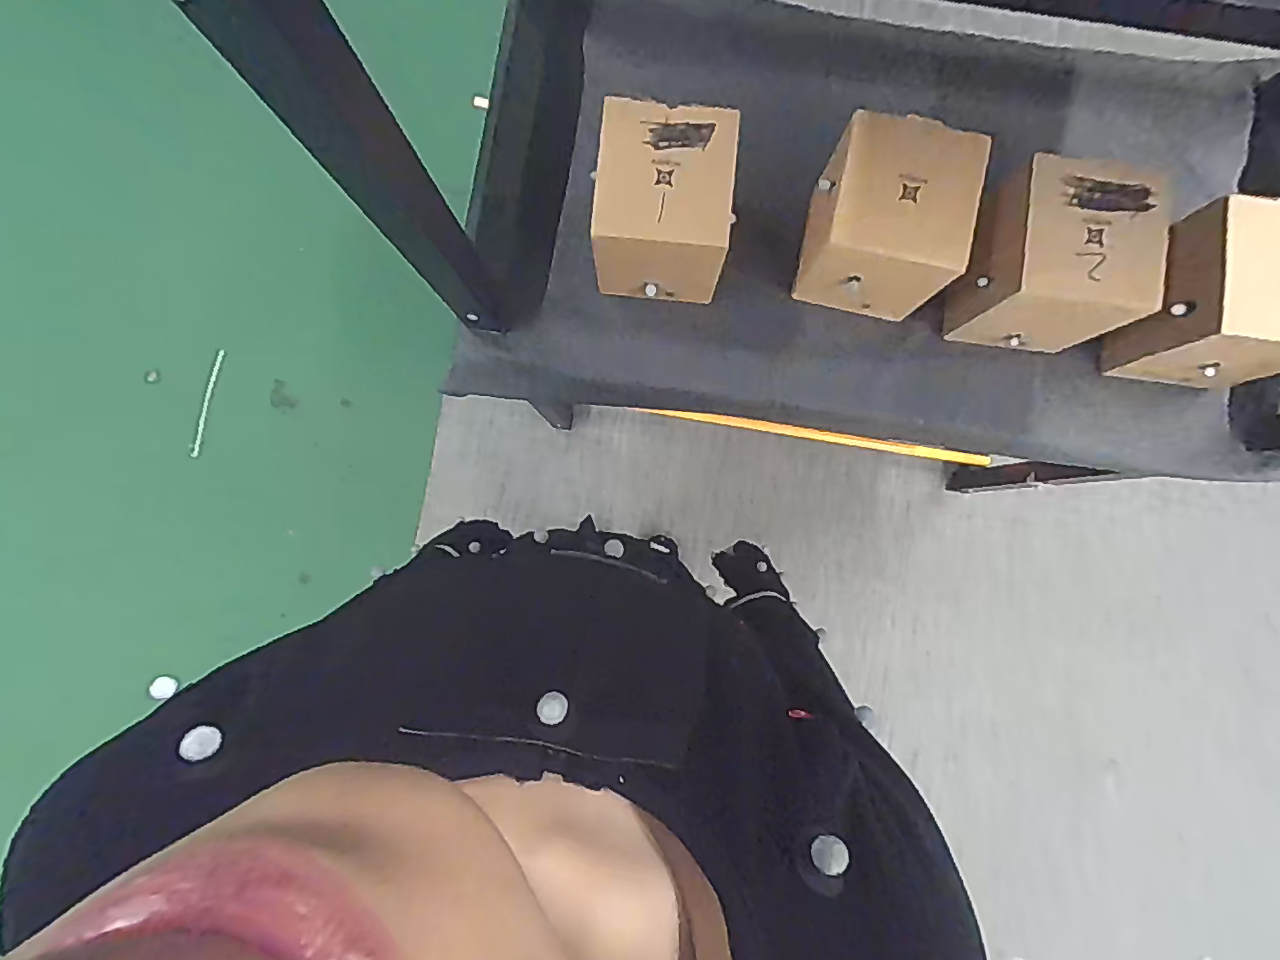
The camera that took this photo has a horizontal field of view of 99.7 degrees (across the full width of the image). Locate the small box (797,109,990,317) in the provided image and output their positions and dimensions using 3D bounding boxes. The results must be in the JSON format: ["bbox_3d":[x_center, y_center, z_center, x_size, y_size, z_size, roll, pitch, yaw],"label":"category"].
[{"bbox_3d":[0.323,-0.341,0.724,0.168,0.176,0.179,13,85,1],"label":"small box"}]

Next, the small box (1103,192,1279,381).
[{"bbox_3d":[0.759,-0.240,0.711,0.168,0.176,0.179,7,85,0],"label":"small box"}]

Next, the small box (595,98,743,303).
[{"bbox_3d":[0.034,-0.360,0.723,0.168,0.176,0.179,5,86,0],"label":"small box"}]
